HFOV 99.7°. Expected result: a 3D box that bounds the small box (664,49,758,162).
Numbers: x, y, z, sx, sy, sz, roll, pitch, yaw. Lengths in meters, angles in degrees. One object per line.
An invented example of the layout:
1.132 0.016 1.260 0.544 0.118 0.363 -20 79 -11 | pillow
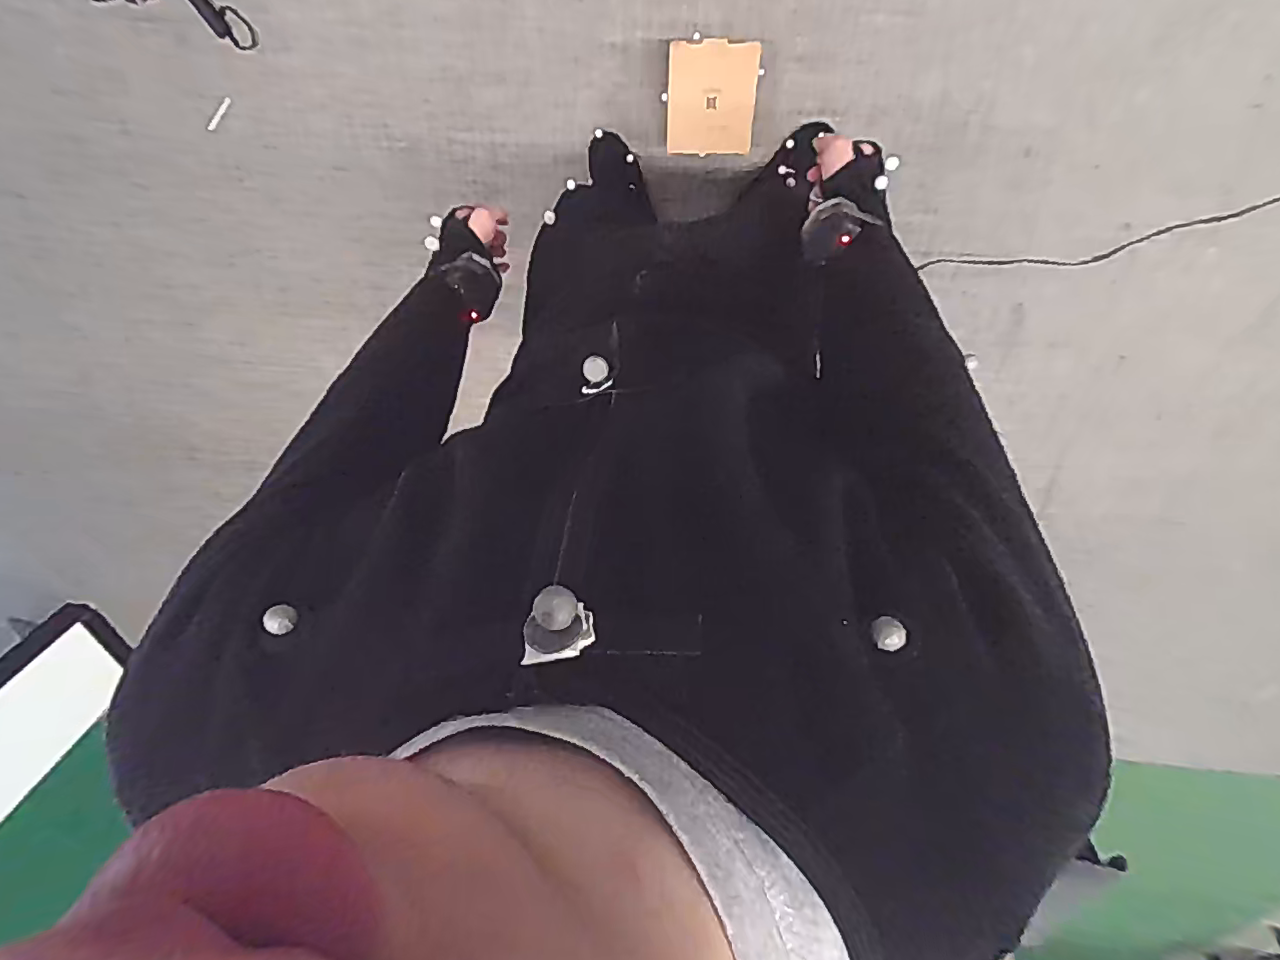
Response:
0.138 -0.753 1.090 0.168 0.176 0.179 4 128 5 | small box
